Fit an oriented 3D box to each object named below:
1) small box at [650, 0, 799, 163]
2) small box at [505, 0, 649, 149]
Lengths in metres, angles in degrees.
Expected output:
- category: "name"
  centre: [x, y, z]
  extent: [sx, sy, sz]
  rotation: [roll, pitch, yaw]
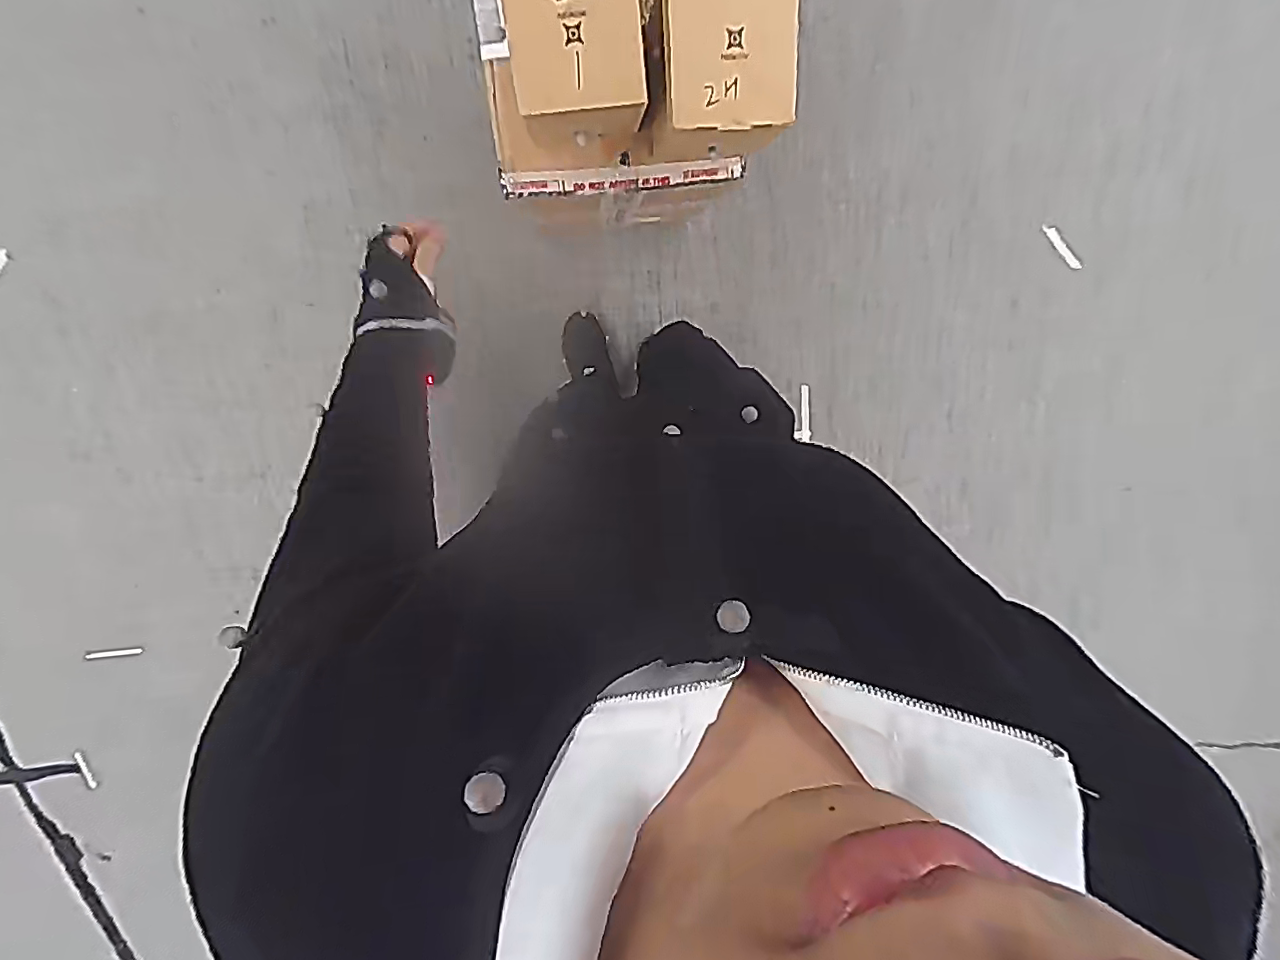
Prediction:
- category: "small box"
  centre: [0.109, -0.563, 0.754]
  extent: [0.168, 0.176, 0.179]
  rotation: [-6, 110, -5]
- category: "small box"
  centre: [-0.084, -0.571, 0.730]
  extent: [0.168, 0.176, 0.179]
  rotation: [-8, 112, -2]
